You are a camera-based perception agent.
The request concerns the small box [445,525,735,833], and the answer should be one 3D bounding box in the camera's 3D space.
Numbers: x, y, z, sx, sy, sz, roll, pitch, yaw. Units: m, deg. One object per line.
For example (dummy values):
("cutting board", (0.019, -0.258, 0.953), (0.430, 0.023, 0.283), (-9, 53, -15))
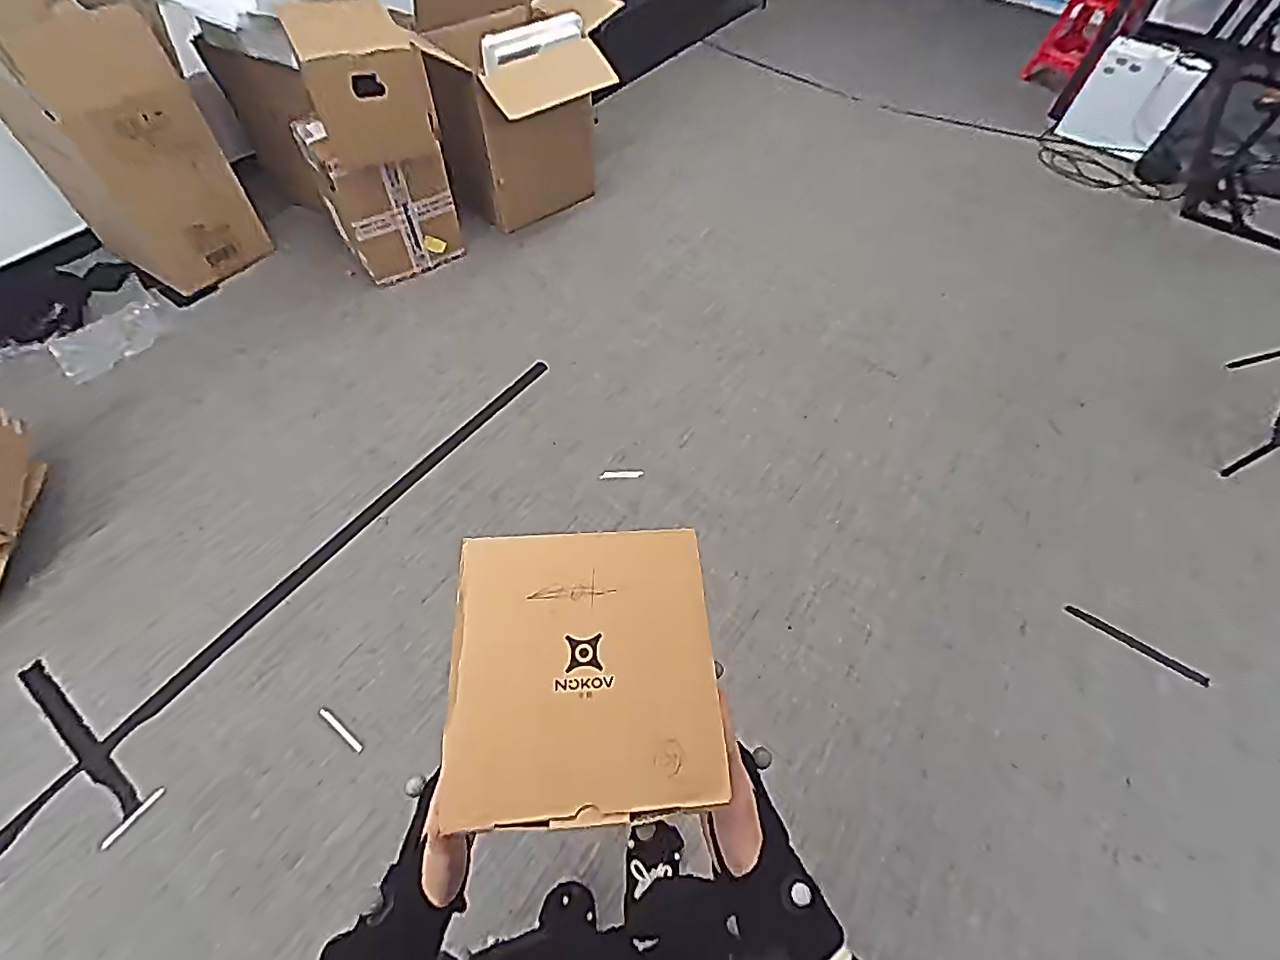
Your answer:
("small box", (-0.037, 0.150, 0.408), (0.168, 0.176, 0.179), (-2, 59, -7))
